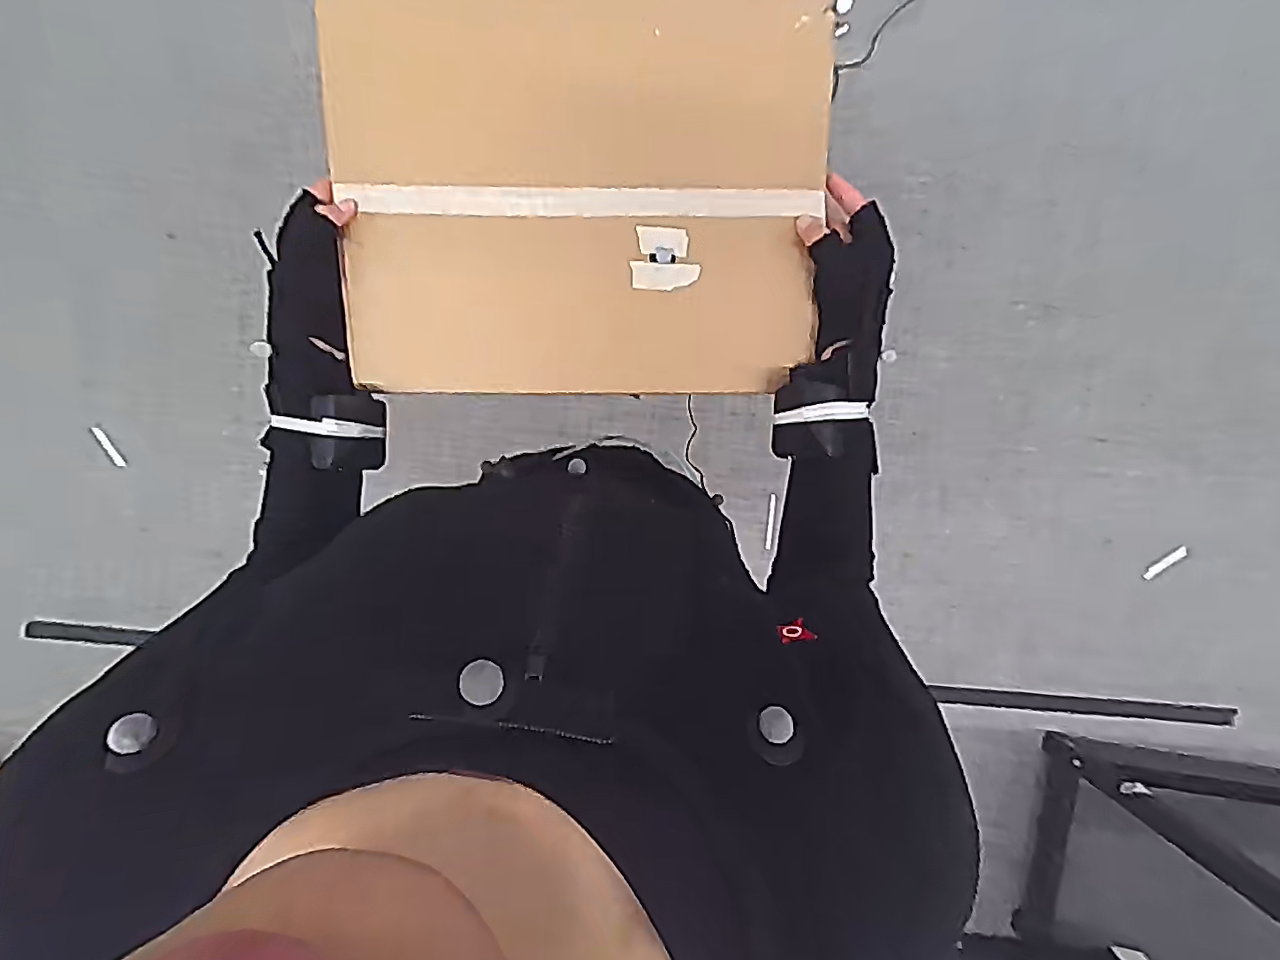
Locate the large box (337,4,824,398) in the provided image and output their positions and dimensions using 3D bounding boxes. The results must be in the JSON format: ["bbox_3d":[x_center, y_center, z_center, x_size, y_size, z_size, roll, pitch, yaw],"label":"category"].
[{"bbox_3d":[-0.053,-0.258,0.612,0.408,0.320,0.320,-1,102,-3],"label":"large box"}]
